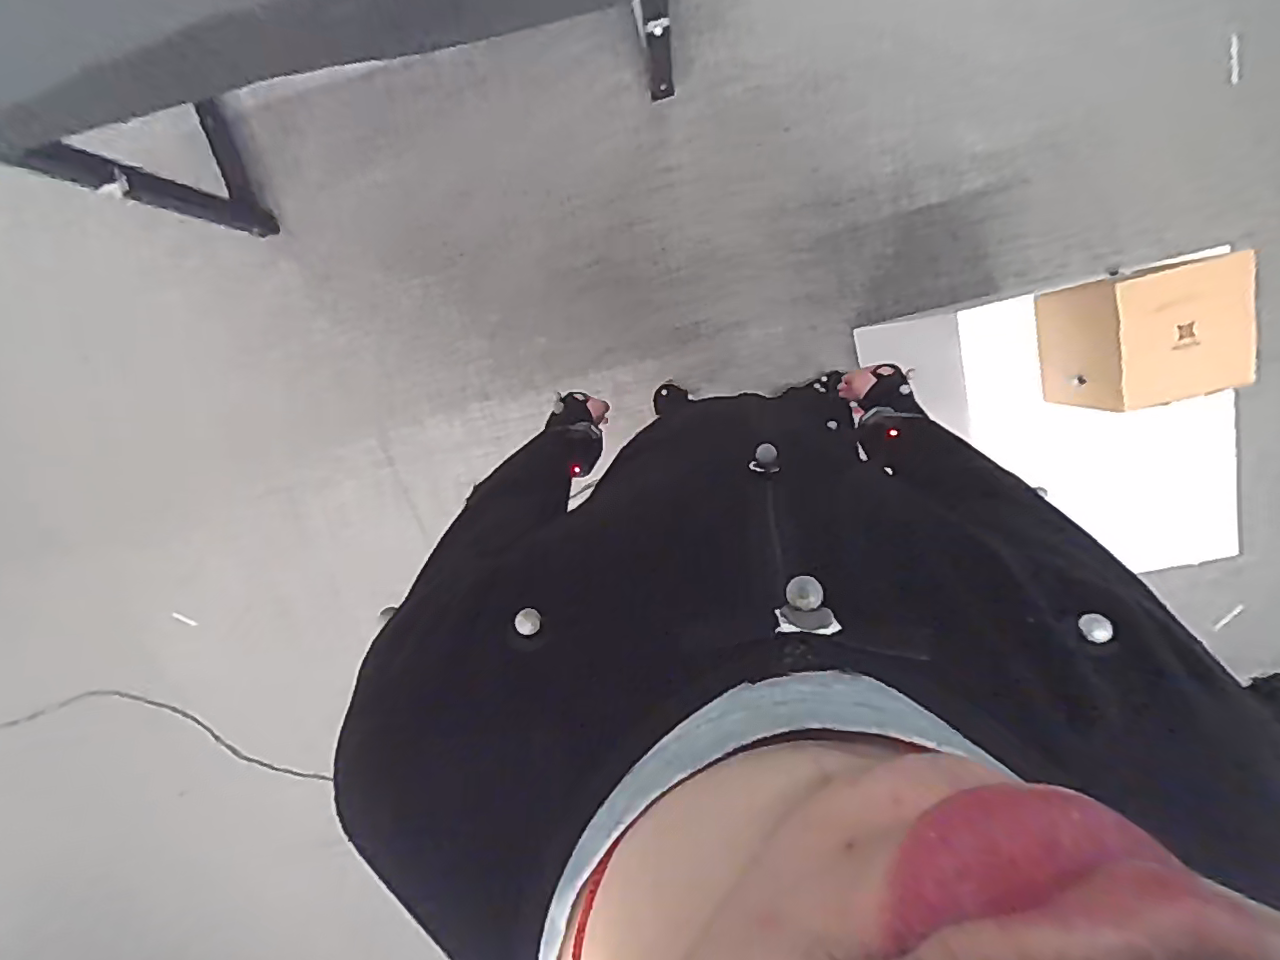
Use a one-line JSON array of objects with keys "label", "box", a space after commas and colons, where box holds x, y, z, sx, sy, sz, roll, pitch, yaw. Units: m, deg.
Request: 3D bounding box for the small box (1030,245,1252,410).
[{"label": "small box", "box": [0.711, -0.214, 0.784, 0.168, 0.176, 0.179, -16, 101, 4]}]
